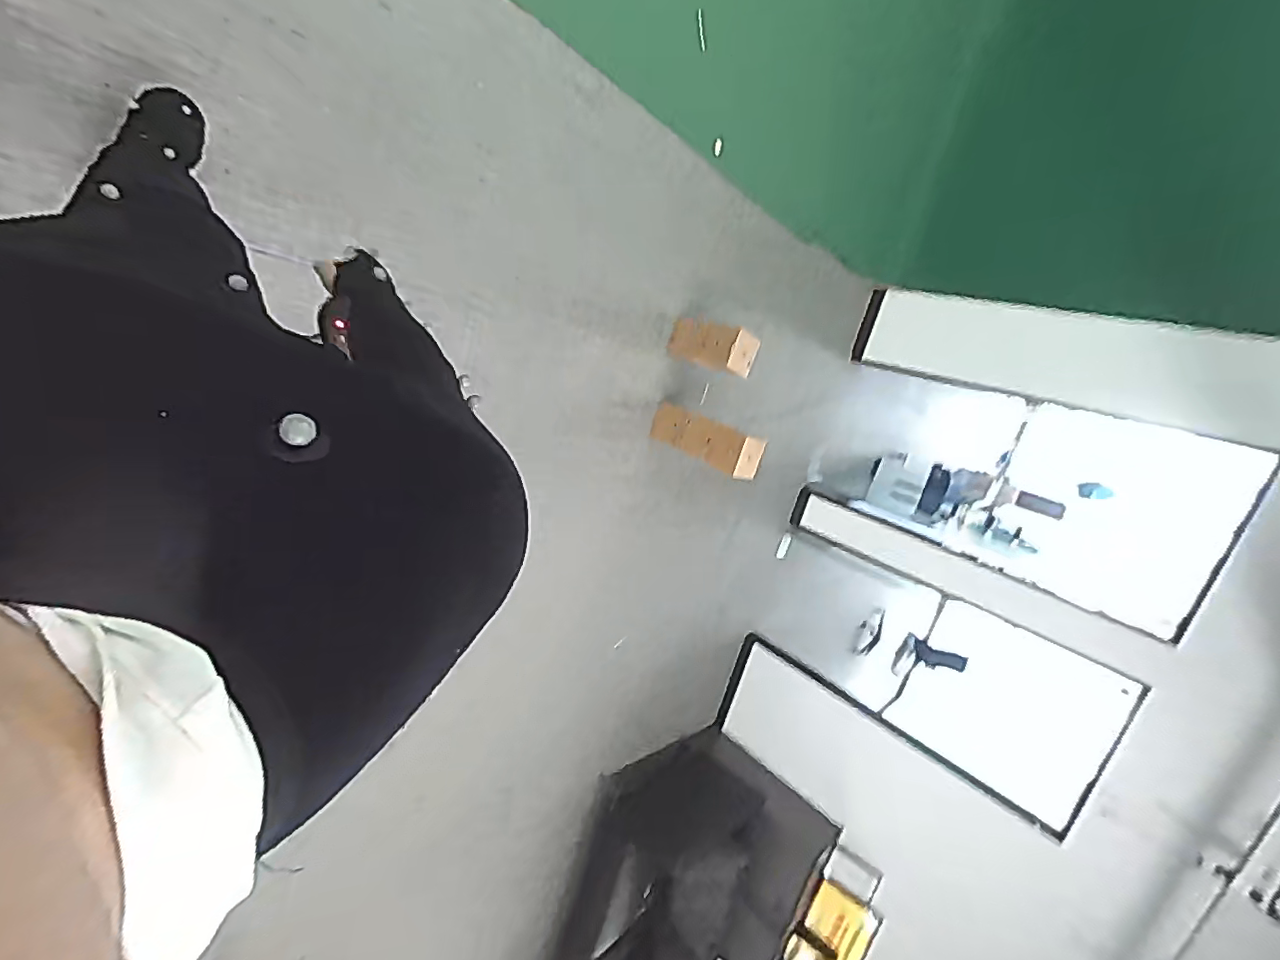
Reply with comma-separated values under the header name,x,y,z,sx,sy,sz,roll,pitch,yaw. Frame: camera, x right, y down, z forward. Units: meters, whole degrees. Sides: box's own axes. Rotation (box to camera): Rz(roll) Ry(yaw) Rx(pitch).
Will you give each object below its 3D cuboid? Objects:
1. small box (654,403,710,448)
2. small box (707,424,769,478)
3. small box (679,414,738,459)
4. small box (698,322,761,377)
name,x,y,z,sx,sy,sz,roll,pitch,yaw
small box,0.188,-0.245,2.489,0.168,0.176,0.179,4,107,-47
small box,0.407,-0.123,2.280,0.168,0.176,0.179,4,106,-48
small box,0.297,-0.187,2.381,0.179,0.176,0.168,6,106,-49
small box,0.373,-0.551,2.271,0.179,0.176,0.168,14,100,-49
